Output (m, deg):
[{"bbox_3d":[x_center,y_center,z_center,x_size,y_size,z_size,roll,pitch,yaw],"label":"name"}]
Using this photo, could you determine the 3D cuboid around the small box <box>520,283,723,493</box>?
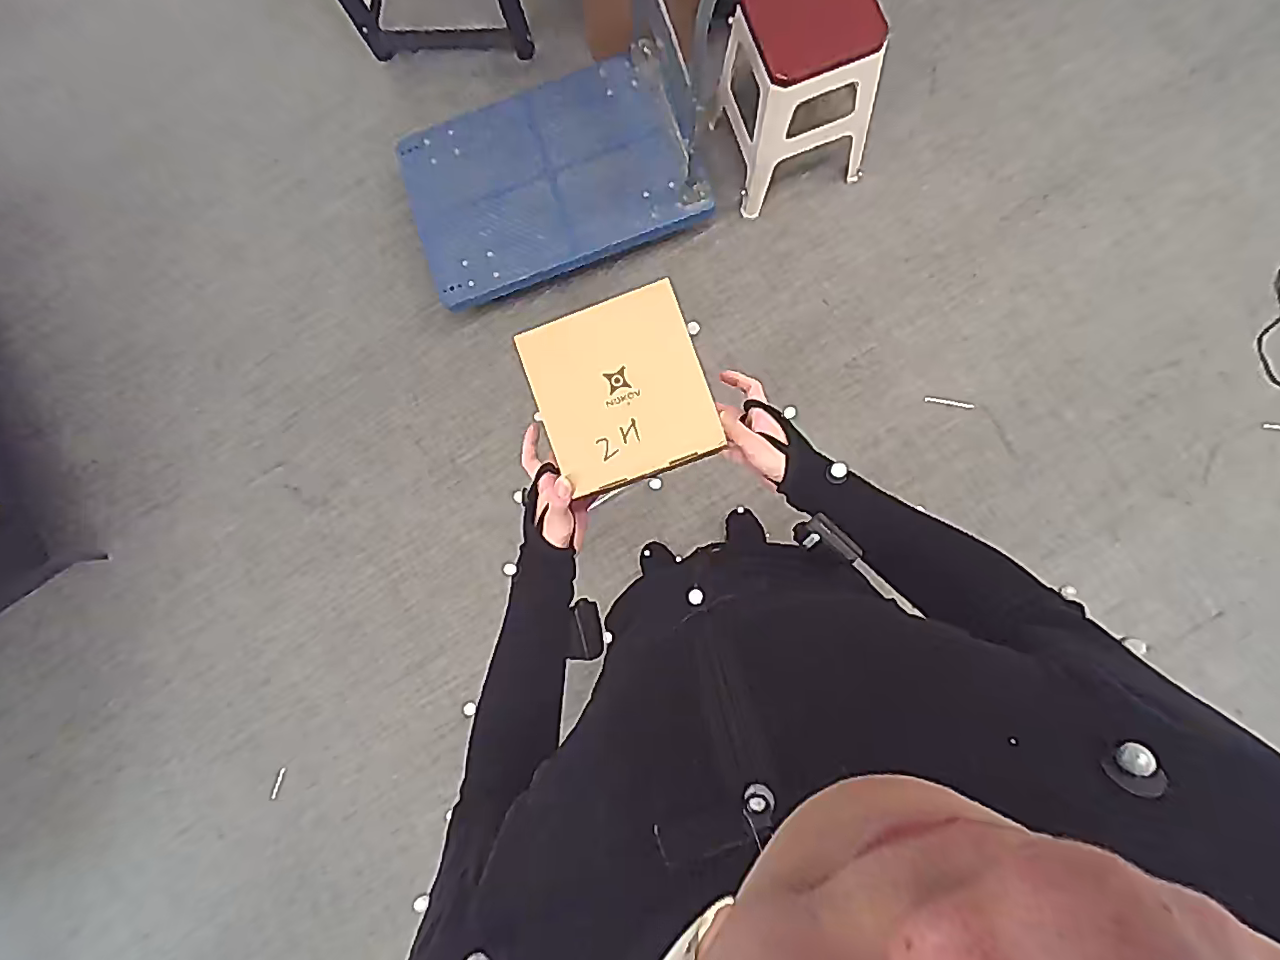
[{"bbox_3d":[-0.016,-0.090,0.619,0.168,0.176,0.179,-19,89,4],"label":"small box"}]
